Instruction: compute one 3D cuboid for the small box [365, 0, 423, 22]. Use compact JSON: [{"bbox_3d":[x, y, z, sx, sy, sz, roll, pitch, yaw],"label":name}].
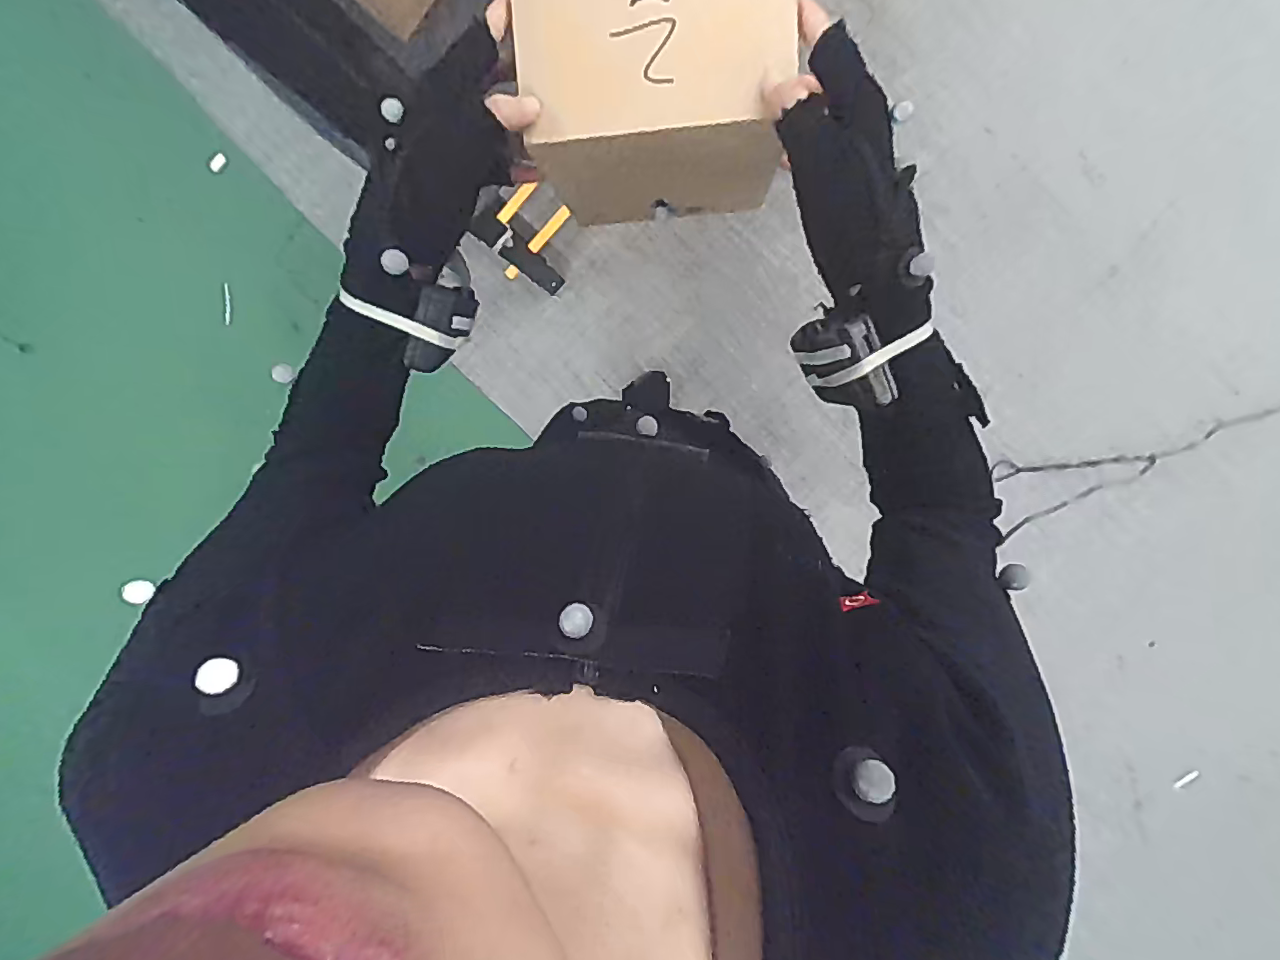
[{"bbox_3d":[-0.321,-0.671,0.590,0.179,0.176,0.168,42,100,-1],"label":"small box"}]
